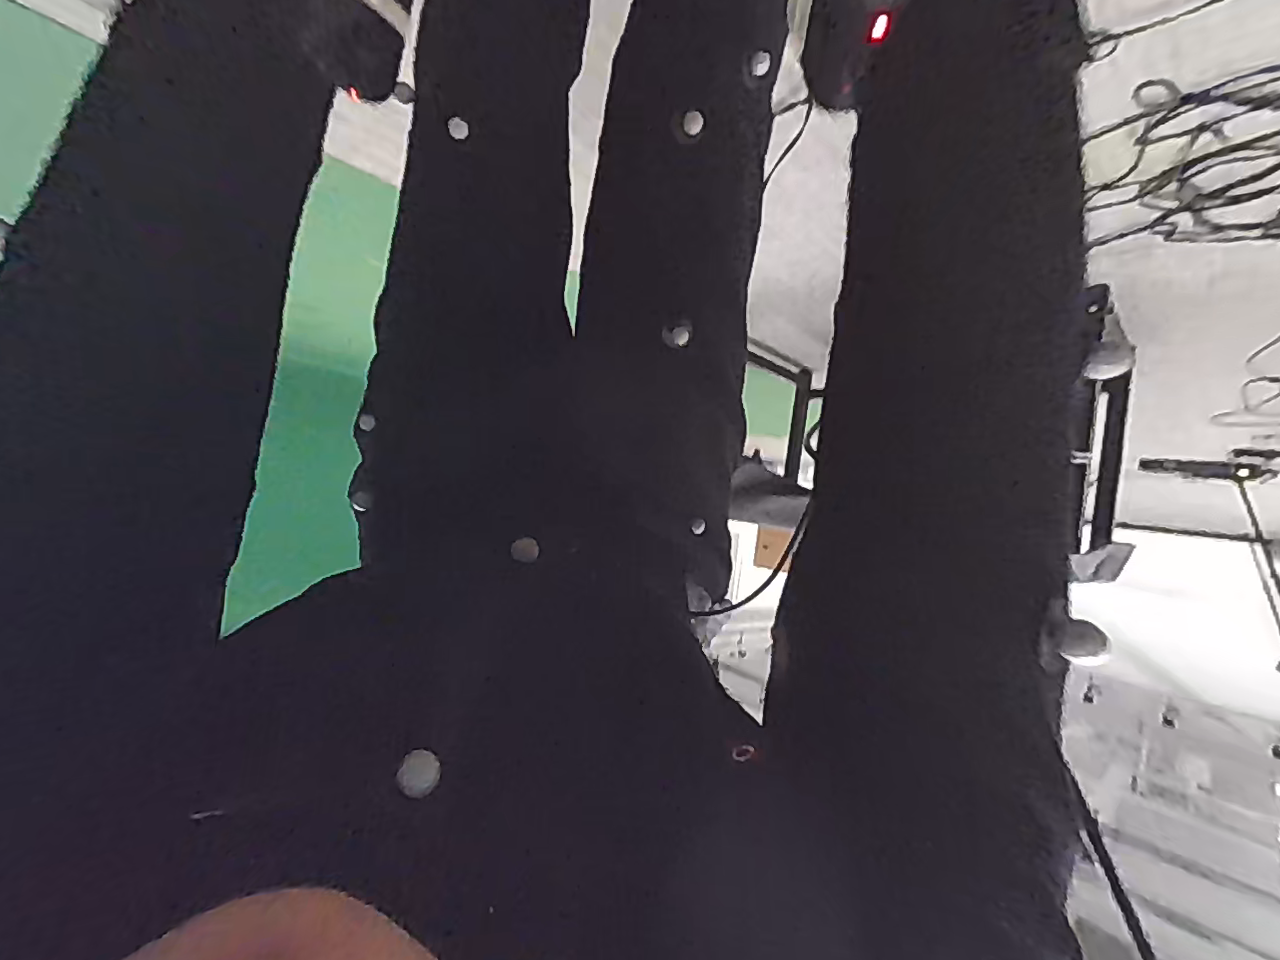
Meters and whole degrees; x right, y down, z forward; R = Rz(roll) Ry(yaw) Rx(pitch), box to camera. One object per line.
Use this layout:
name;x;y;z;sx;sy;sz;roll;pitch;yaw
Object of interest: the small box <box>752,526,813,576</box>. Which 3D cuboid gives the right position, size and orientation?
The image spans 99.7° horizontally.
small box;0.555;0.271;2.098;0.179;0.176;0.168;6;179;33
